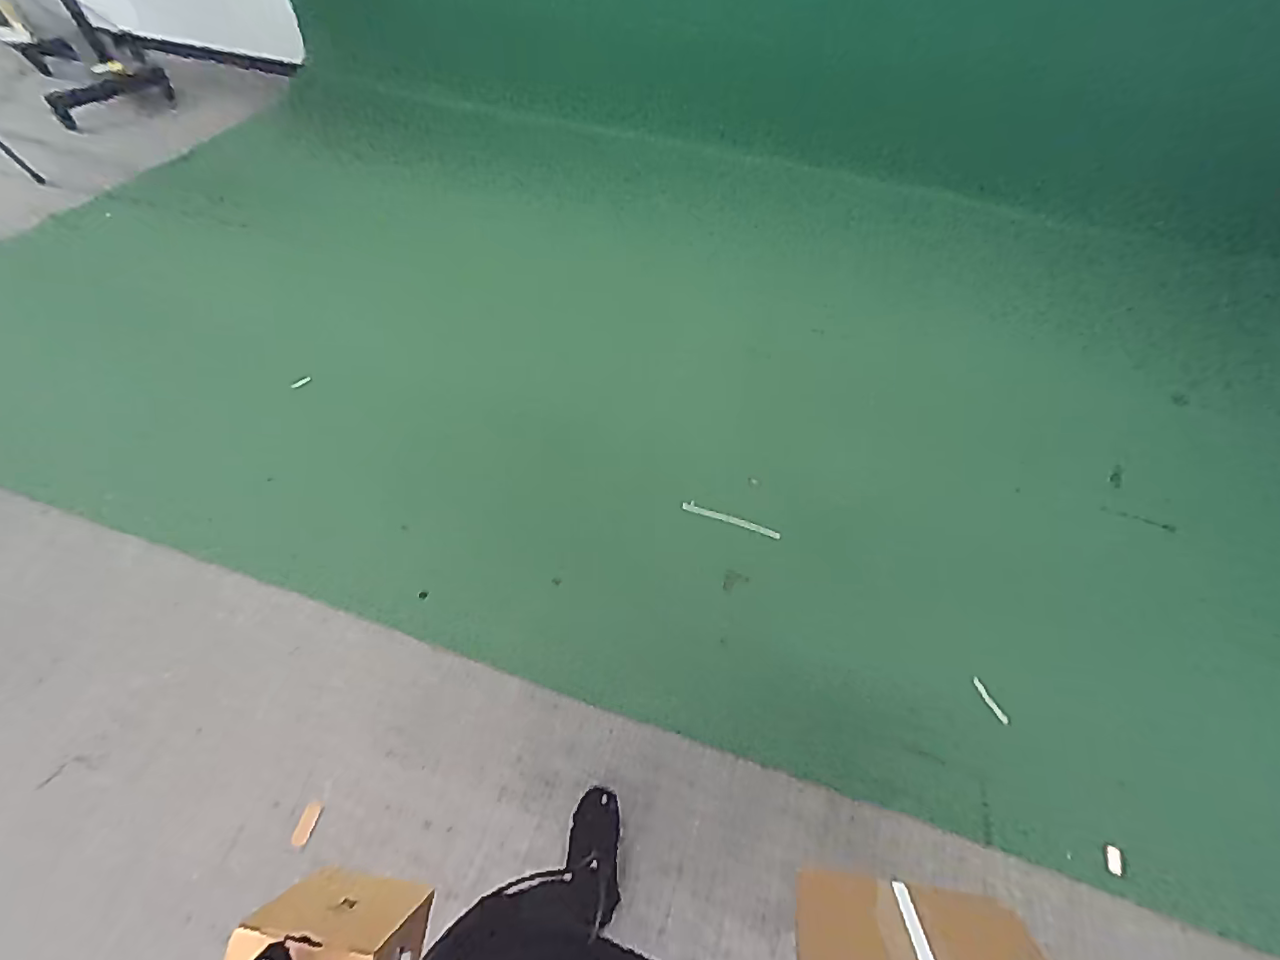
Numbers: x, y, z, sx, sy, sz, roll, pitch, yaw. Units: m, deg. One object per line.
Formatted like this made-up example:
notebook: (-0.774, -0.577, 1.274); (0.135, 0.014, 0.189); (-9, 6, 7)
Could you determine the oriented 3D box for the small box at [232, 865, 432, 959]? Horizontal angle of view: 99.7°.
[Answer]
small box: (-0.383, 0.608, 0.654); (0.168, 0.179, 0.176); (8, 73, 4)
